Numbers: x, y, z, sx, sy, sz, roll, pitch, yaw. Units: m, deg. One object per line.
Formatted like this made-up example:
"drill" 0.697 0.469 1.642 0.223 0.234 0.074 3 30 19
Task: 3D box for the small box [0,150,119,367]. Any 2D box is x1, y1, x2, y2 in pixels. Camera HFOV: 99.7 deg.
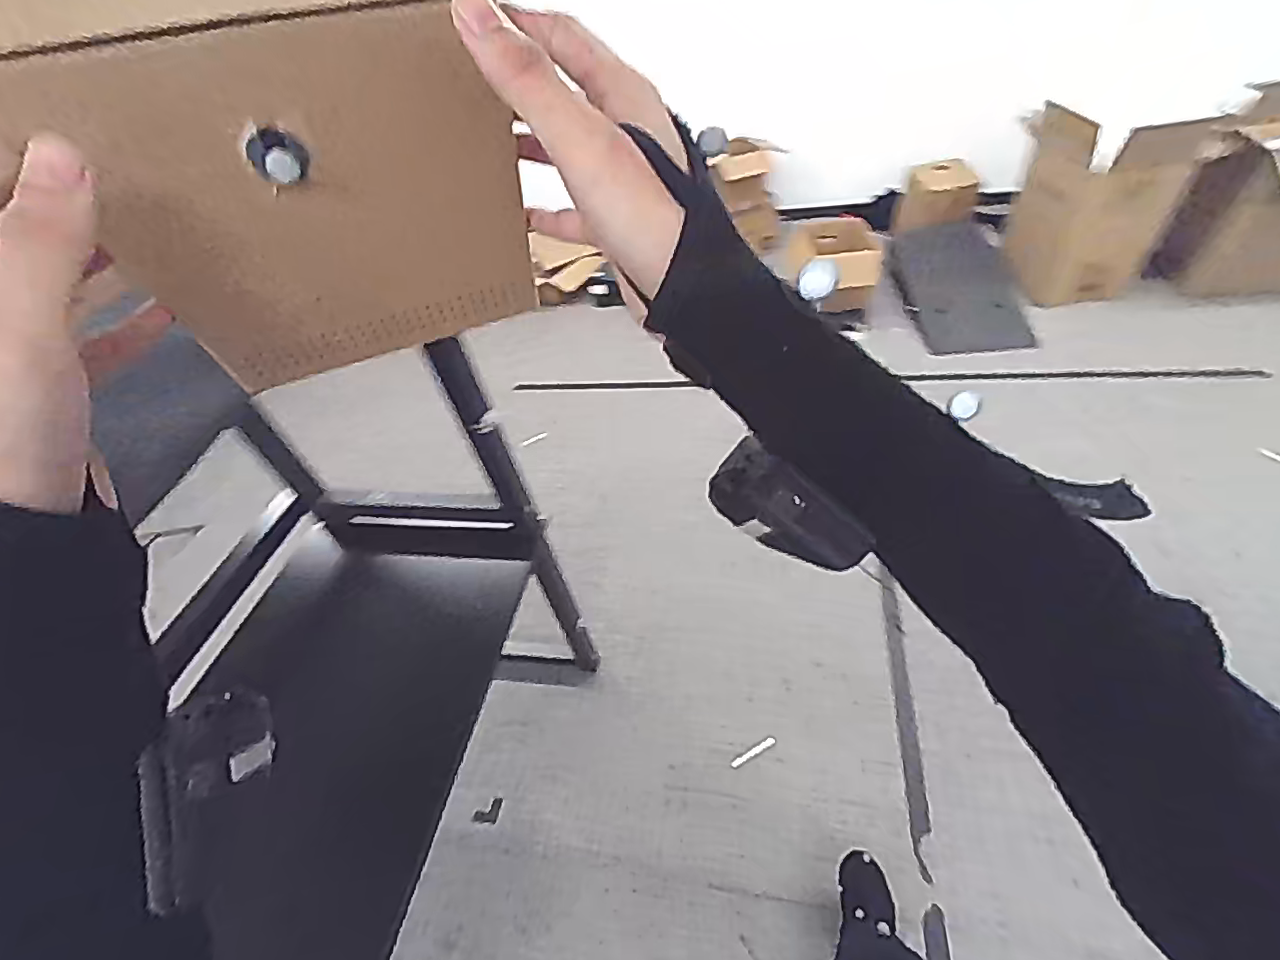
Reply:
"small box" -0.618 -0.185 0.445 0.179 0.176 0.168 2 48 14

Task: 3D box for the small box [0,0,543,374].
"small box" -0.164 -0.181 0.282 0.179 0.176 0.168 -20 67 -13
